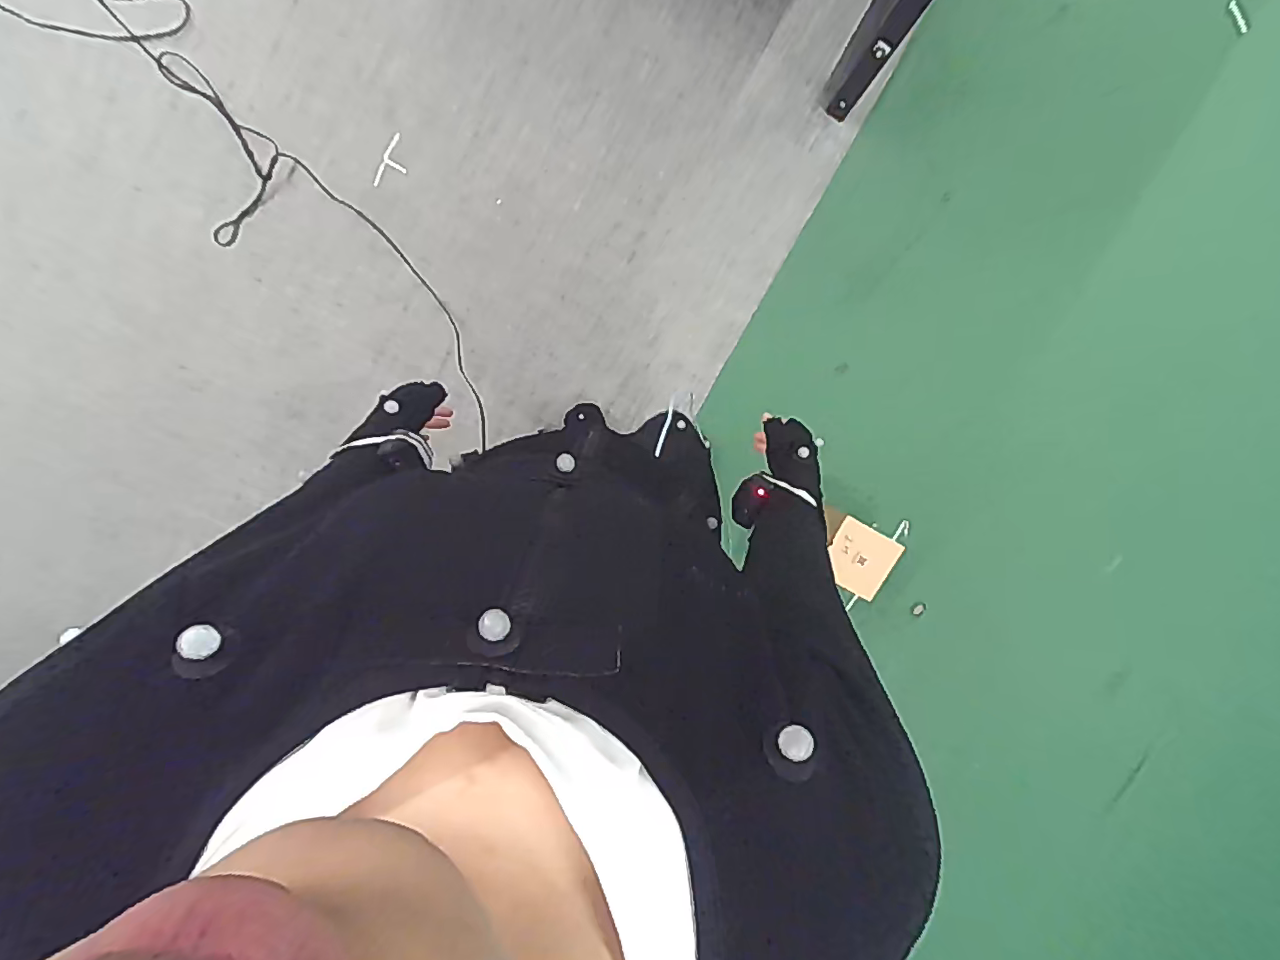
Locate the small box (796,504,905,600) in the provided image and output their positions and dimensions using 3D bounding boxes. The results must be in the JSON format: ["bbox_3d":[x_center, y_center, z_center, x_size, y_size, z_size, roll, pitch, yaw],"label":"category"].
[{"bbox_3d":[0.545,0.180,1.421,0.179,0.176,0.168,29,98,-5],"label":"small box"}]
